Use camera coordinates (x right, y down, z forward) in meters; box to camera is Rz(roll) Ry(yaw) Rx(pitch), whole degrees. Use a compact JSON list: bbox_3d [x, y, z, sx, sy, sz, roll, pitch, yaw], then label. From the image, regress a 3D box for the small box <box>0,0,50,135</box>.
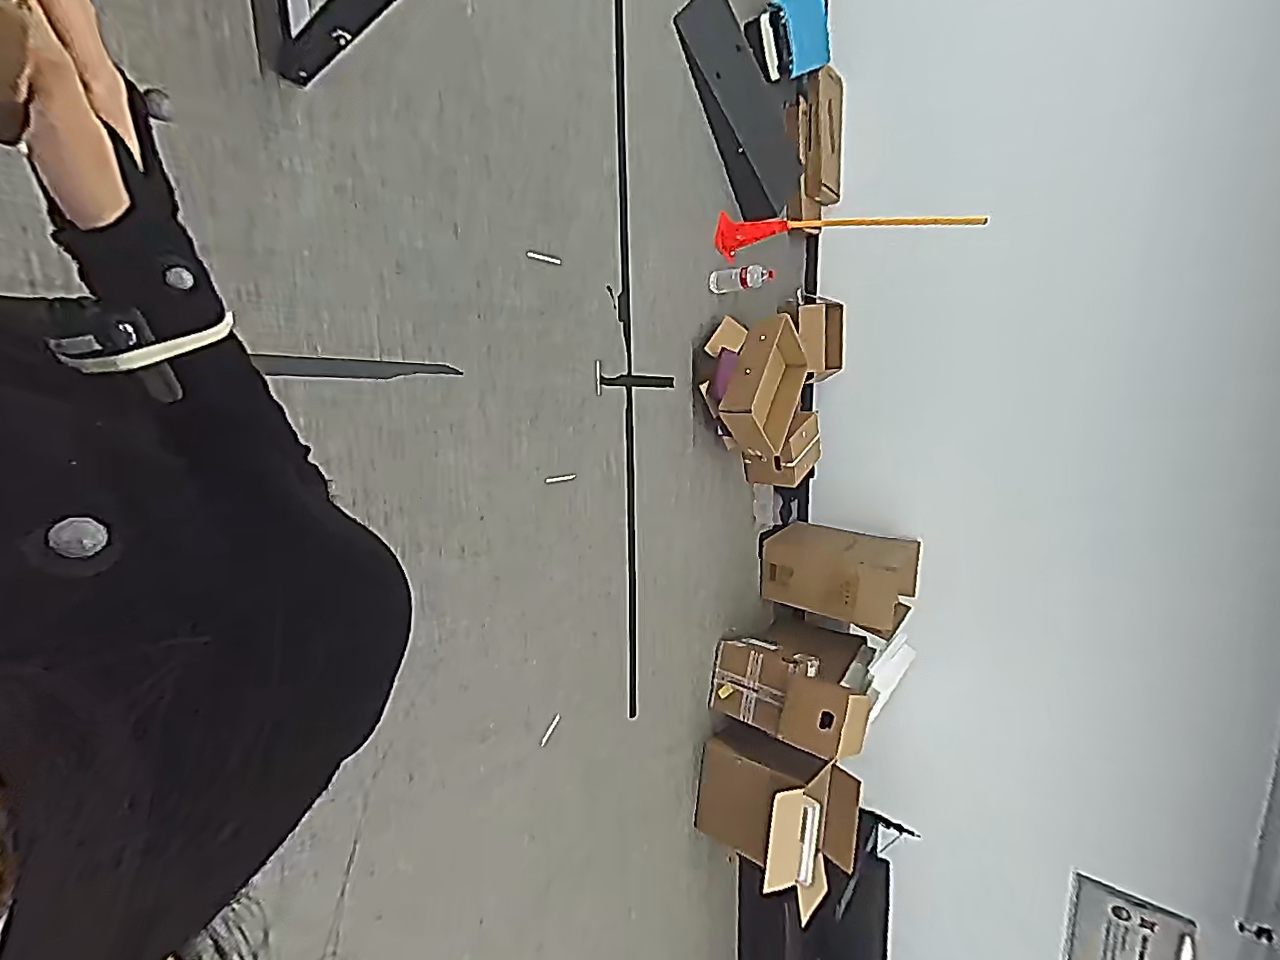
[{"bbox_3d":[-0.311,-0.235,0.158,0.168,0.176,0.179,-13,108,-49],"label":"small box"}]
